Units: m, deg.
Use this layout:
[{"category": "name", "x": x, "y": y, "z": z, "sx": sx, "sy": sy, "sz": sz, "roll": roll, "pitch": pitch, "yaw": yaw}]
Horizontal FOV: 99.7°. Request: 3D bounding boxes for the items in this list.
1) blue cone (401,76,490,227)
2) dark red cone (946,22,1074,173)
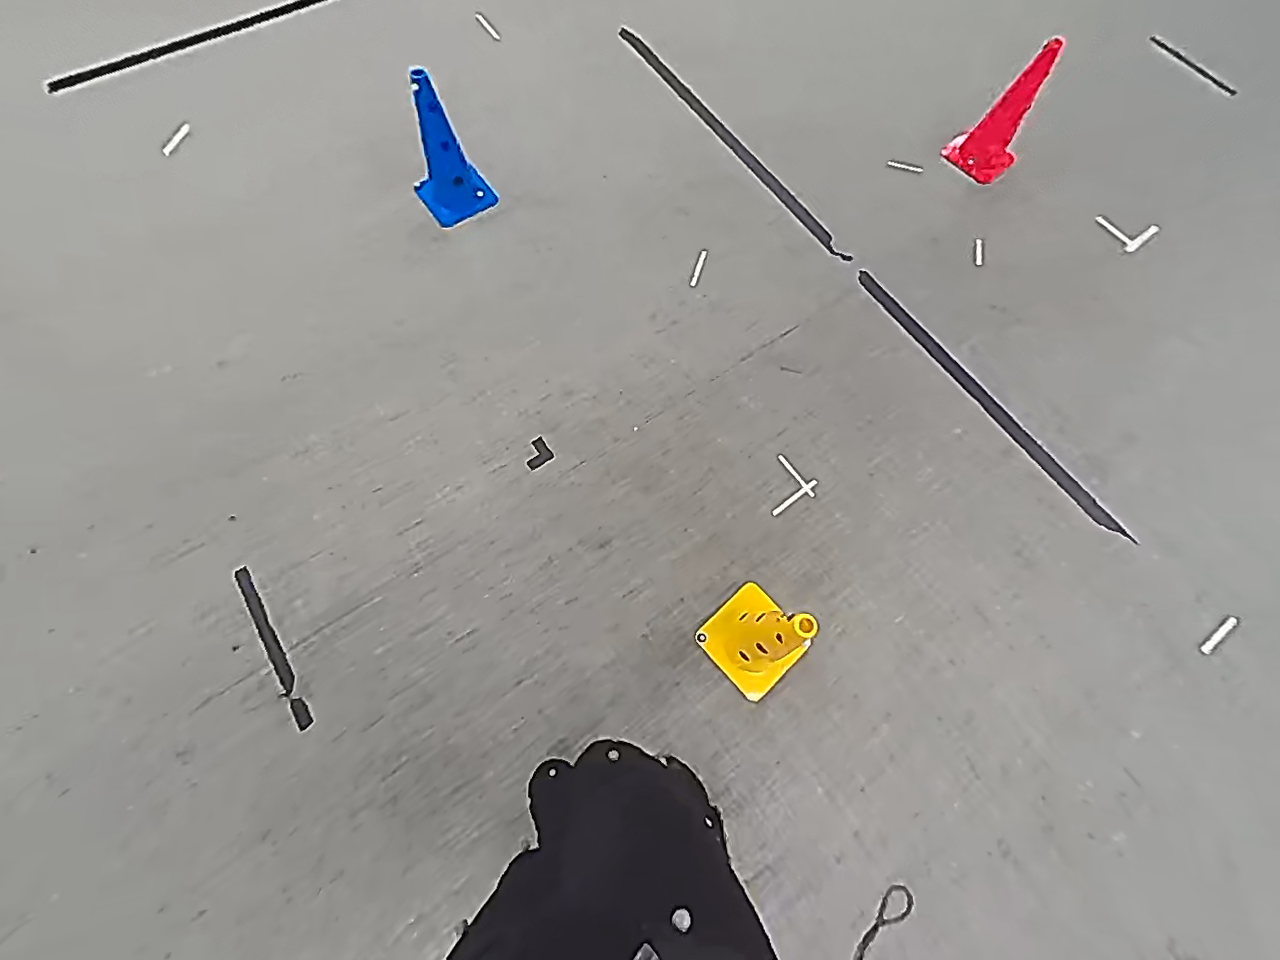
[{"category": "blue cone", "x": -0.567, "y": -0.924, "z": 1.503, "sx": 0.192, "sy": 0.380, "sz": 0.193, "roll": -33, "pitch": 74, "yaw": -13}, {"category": "dark red cone", "x": 1.166, "y": -1.187, "z": 1.671, "sx": 0.201, "sy": 0.394, "sz": 0.202, "roll": -41, "pitch": 77, "yaw": -15}]
